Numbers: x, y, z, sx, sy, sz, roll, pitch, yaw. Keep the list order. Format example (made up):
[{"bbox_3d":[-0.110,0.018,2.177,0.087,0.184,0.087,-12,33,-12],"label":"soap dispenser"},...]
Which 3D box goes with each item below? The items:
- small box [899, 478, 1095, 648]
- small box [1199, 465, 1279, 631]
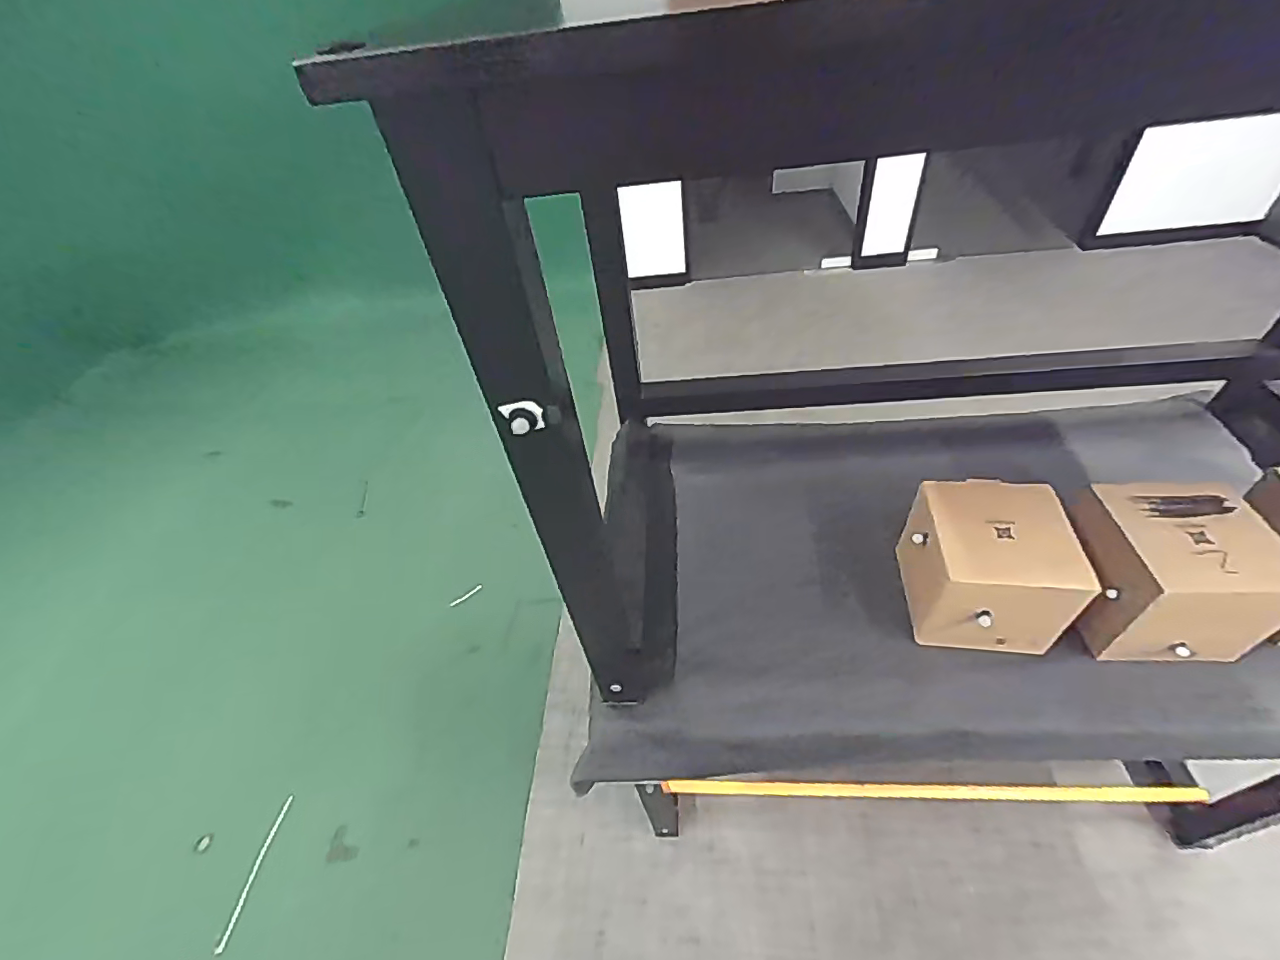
[{"bbox_3d":[0.481,0.117,0.764,0.168,0.176,0.179,2,46,11],"label":"small box"},{"bbox_3d":[0.918,0.098,0.708,0.168,0.176,0.179,0,45,9],"label":"small box"}]
